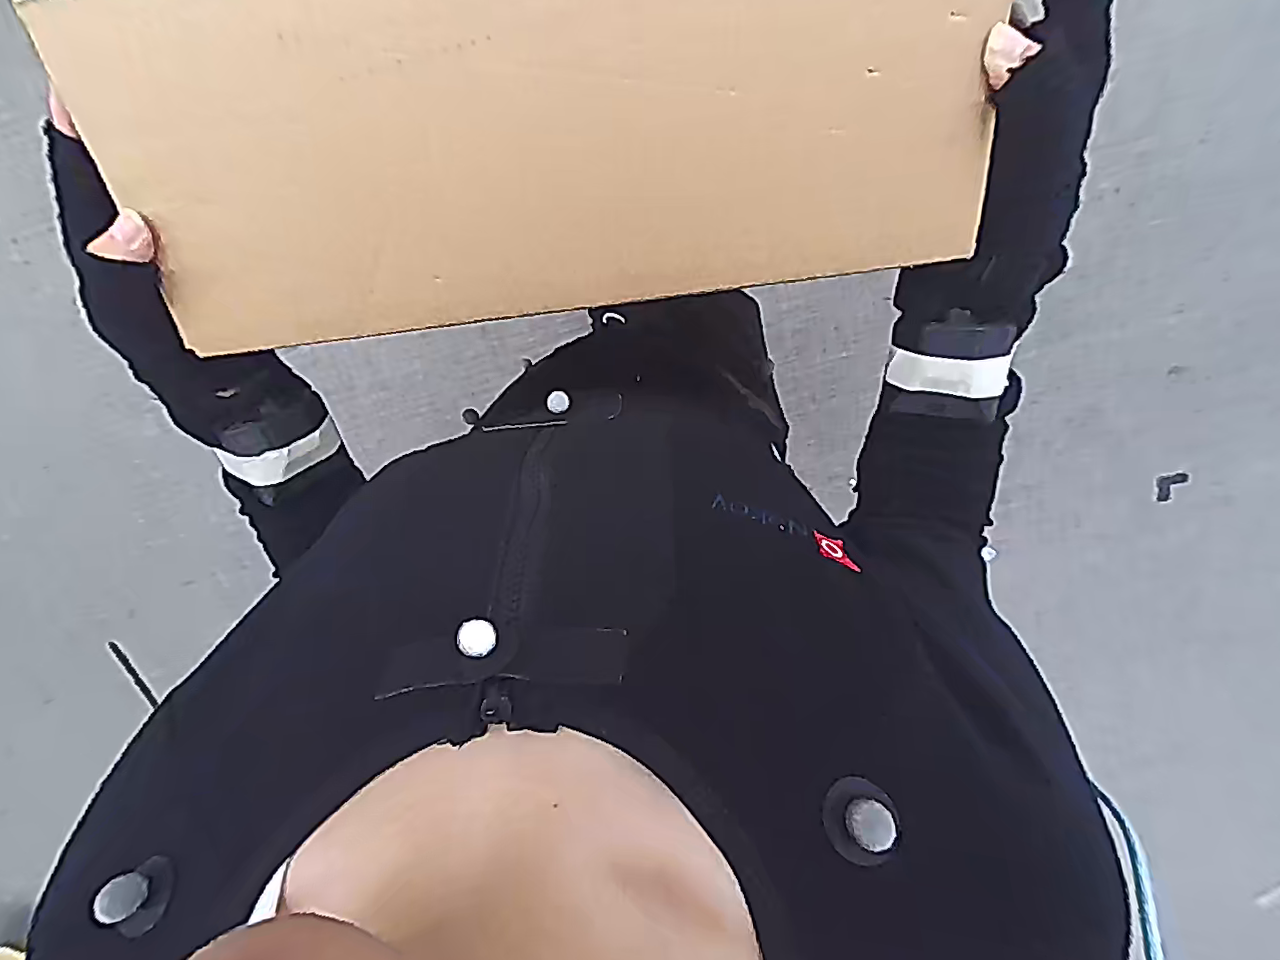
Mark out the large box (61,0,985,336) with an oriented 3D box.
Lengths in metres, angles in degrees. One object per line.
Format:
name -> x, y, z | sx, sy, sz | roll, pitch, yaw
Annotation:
large box -> -0.056, -0.304, 0.353 | 0.408, 0.320, 0.320 | -7, 117, 3
